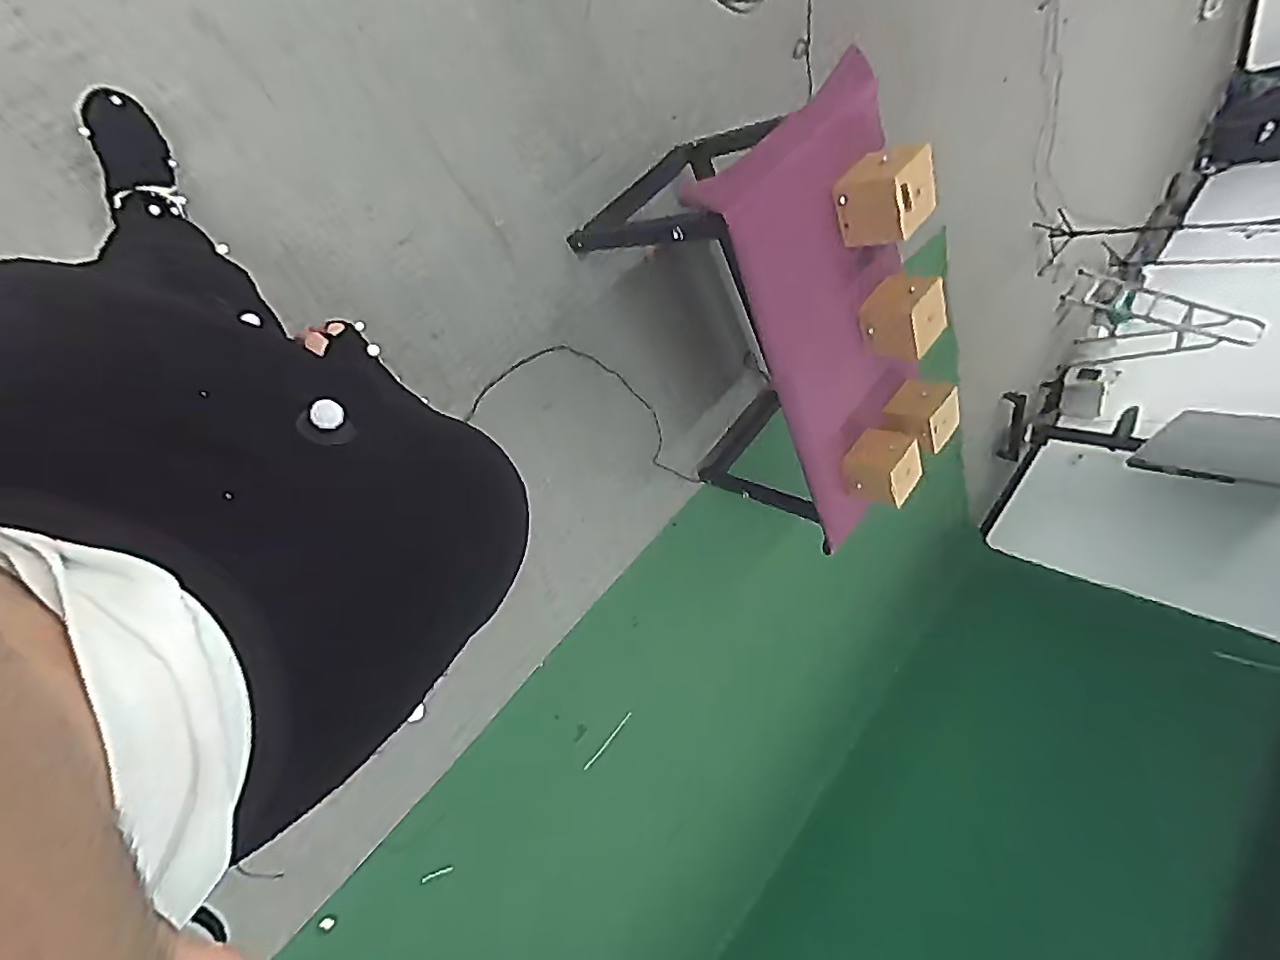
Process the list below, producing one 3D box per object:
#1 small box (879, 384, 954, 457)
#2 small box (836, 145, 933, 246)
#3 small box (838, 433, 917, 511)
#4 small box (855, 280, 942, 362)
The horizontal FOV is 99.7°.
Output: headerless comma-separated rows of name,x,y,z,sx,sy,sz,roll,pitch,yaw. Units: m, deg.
small box,0.948,-0.210,1.853,0.179,0.176,0.168,-46,128,-18
small box,0.623,-0.723,1.394,0.179,0.176,0.168,-47,130,-18
small box,0.775,-0.034,1.764,0.179,0.176,0.168,-46,128,-21
small box,0.769,-0.477,1.609,0.179,0.176,0.168,-45,128,-19
